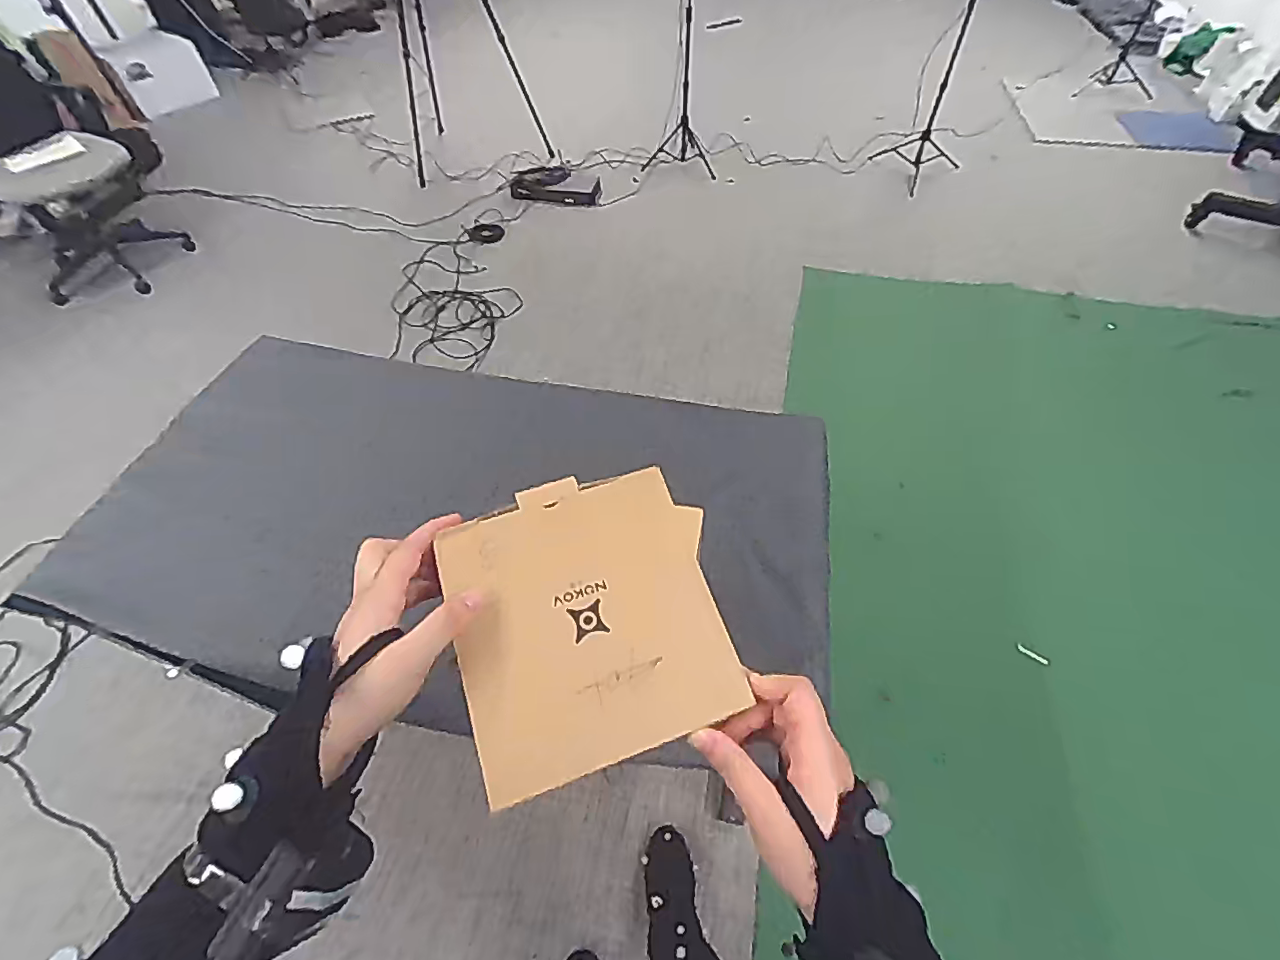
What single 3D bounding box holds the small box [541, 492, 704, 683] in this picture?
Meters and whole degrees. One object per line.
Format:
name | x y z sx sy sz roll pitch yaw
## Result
small box | -0.012 0.143 0.706 0.168 0.176 0.179 8 50 9
